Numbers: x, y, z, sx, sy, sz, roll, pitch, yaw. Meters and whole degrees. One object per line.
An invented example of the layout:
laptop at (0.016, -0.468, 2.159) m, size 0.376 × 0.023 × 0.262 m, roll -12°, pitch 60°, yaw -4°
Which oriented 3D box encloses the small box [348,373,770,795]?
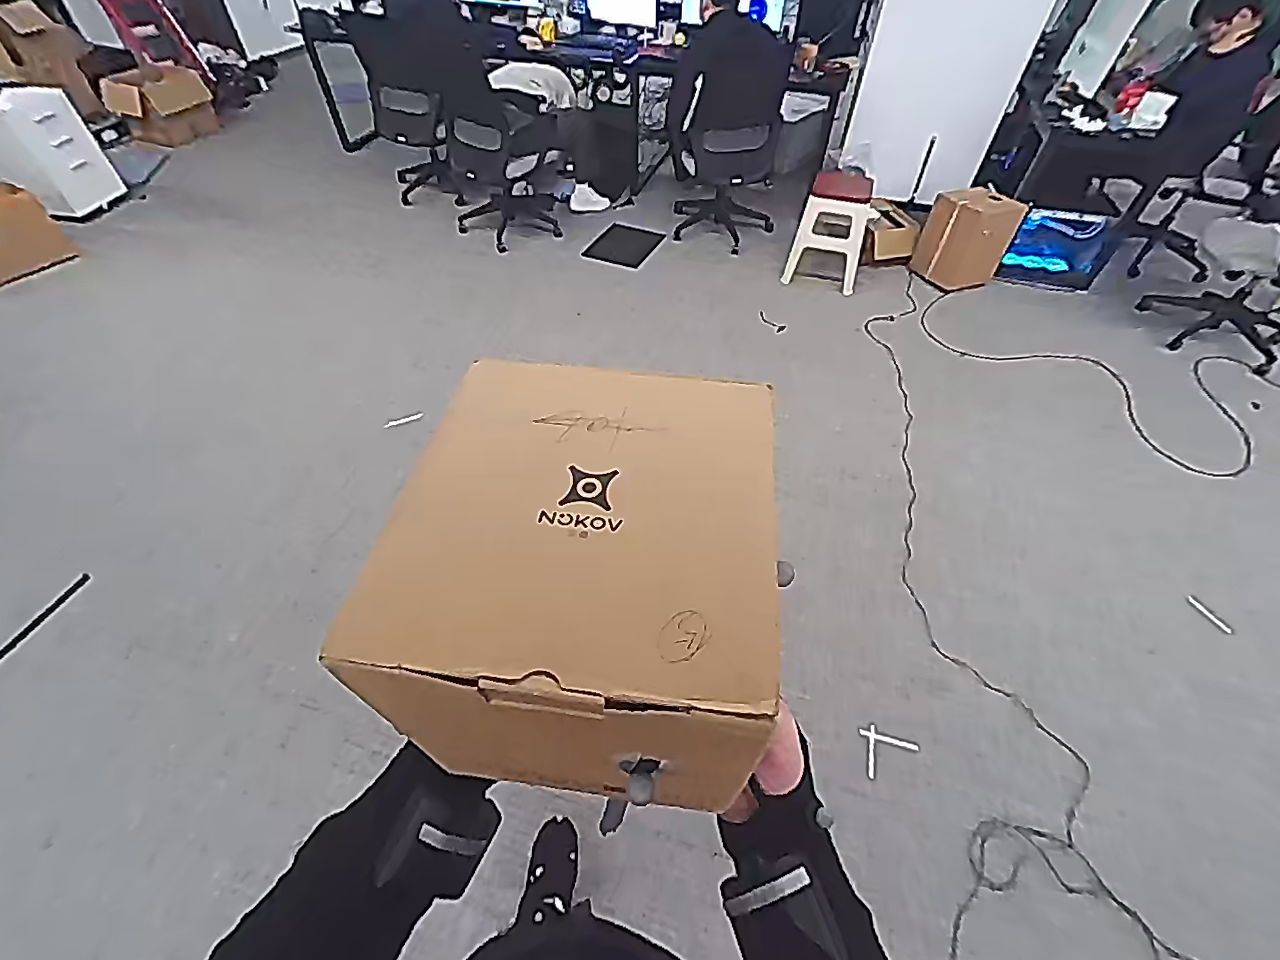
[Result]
small box at (-0.021, 0.063, 0.313) m, size 0.168 × 0.176 × 0.179 m, roll 6°, pitch 49°, yaw 5°
